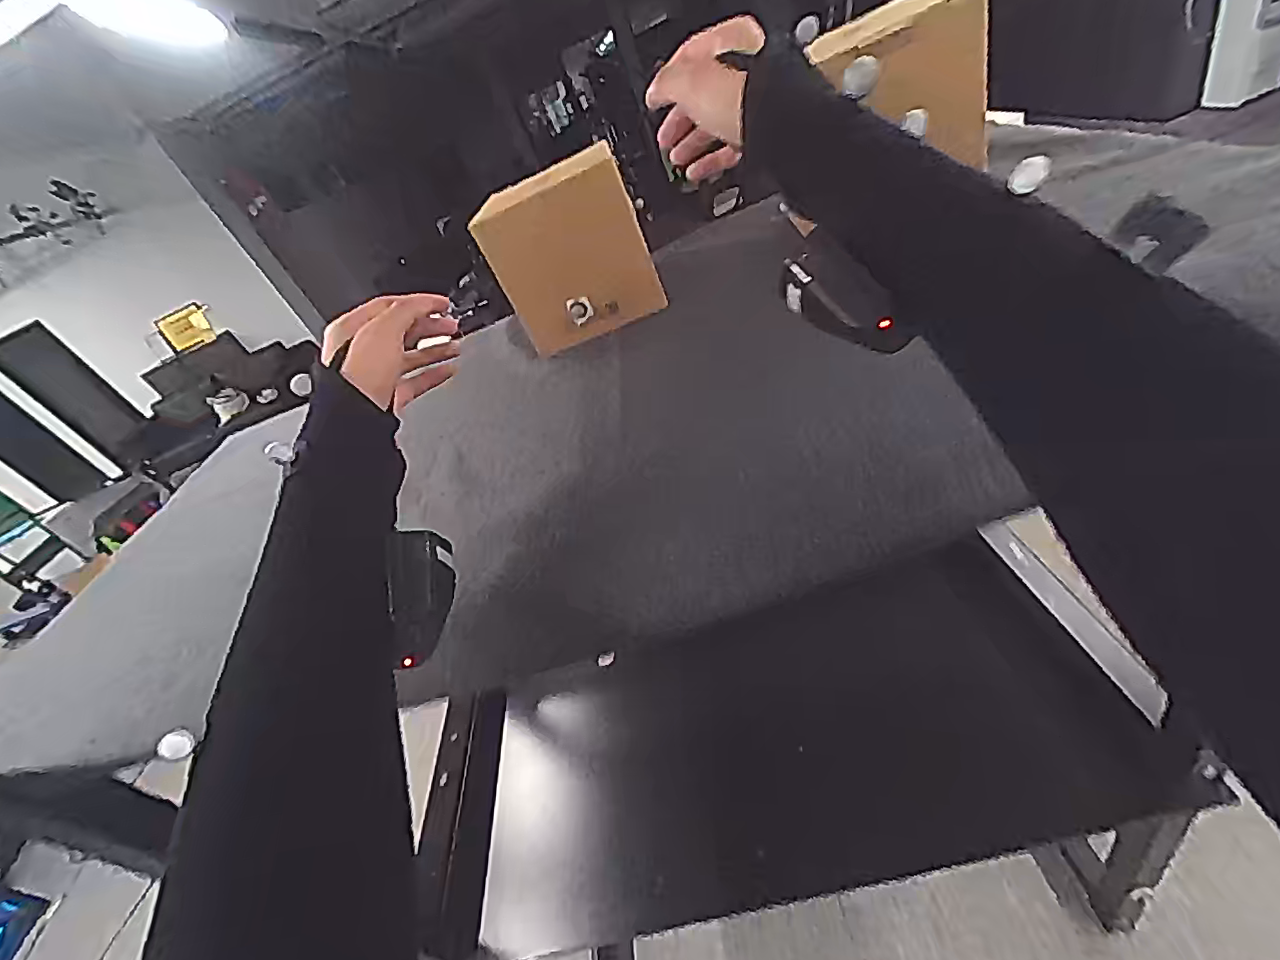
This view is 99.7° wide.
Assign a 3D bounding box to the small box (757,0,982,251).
[{"bbox_3d":[0.236,-0.366,0.569,0.168,0.176,0.179,-17,38,14],"label":"small box"}]

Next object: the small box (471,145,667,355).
[{"bbox_3d":[-0.077,-0.280,0.663,0.168,0.176,0.179,-21,36,10],"label":"small box"}]
